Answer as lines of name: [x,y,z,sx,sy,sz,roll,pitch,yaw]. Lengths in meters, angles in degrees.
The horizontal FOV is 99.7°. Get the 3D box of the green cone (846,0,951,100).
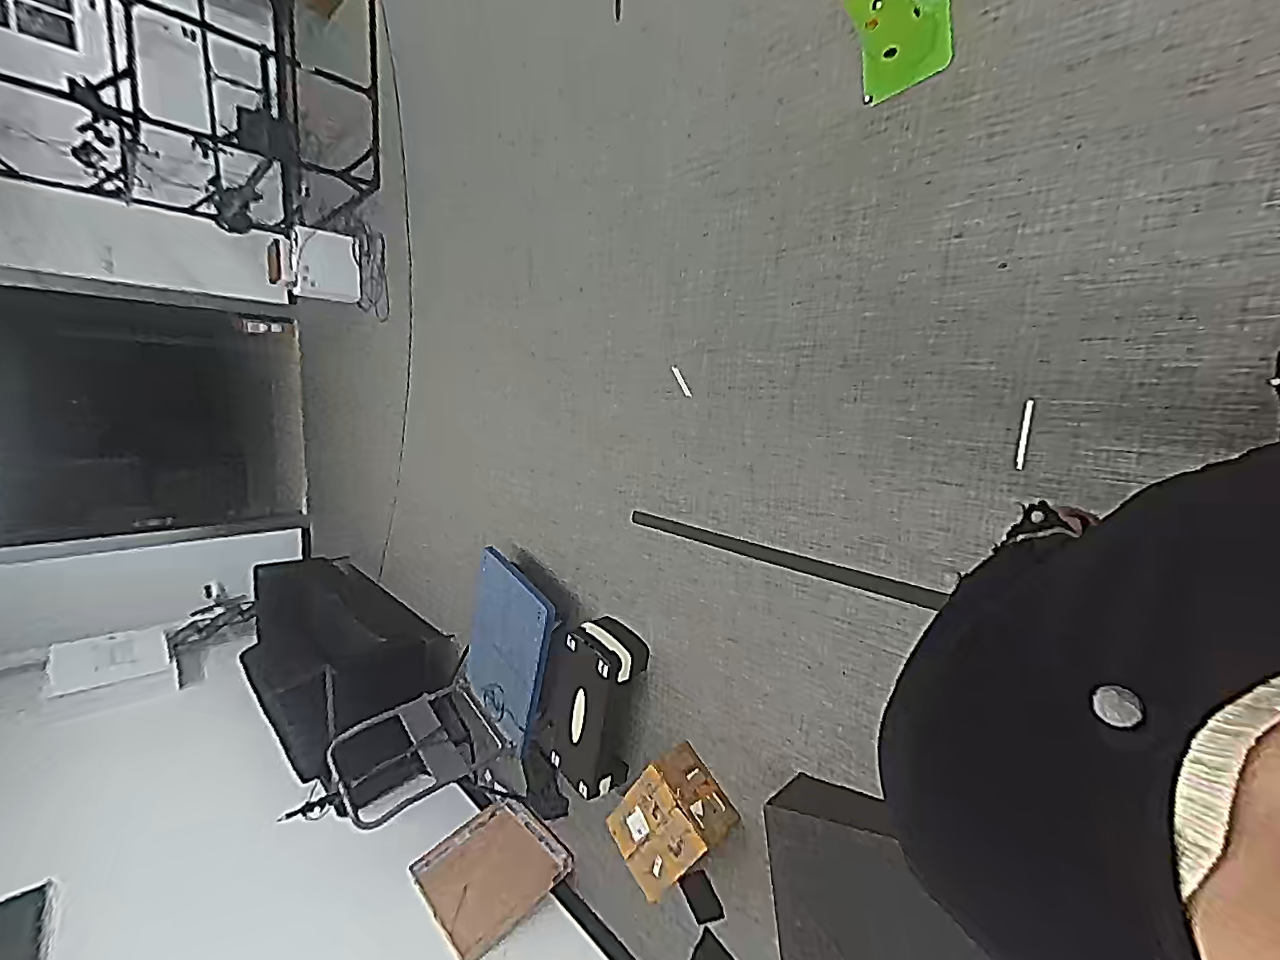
green cone: [0.496,-1.030,1.154,0.200,0.368,0.202,-3,90,46]
